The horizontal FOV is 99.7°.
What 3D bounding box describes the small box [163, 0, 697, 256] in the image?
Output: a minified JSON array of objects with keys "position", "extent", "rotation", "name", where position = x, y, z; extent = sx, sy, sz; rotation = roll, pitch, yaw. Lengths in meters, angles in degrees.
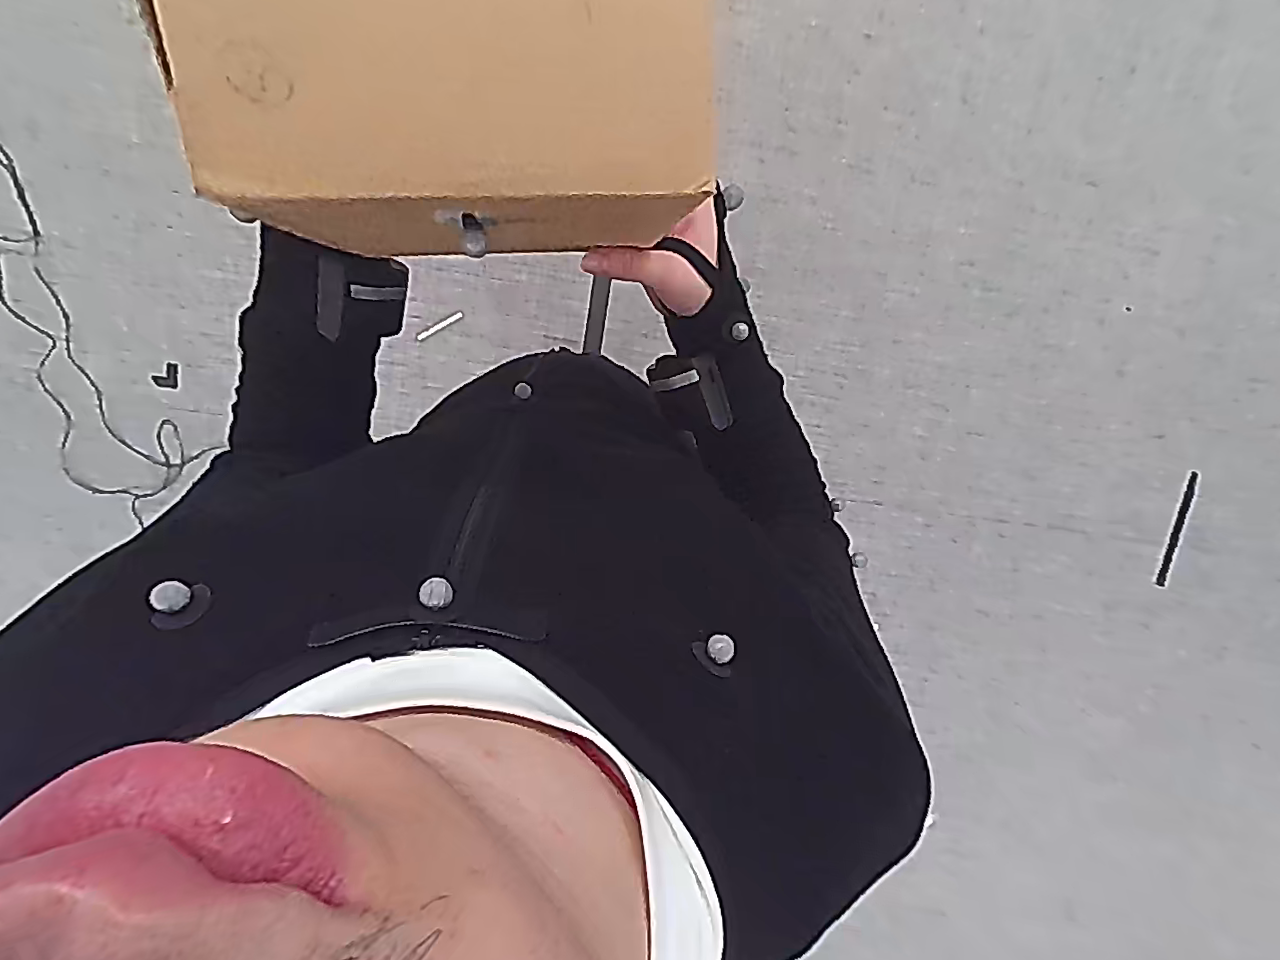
[{"position":[-0.077,-0.201,0.250],"extent":[0.179,0.176,0.168],"rotation":[-5,108,-7],"name":"small box"}]
